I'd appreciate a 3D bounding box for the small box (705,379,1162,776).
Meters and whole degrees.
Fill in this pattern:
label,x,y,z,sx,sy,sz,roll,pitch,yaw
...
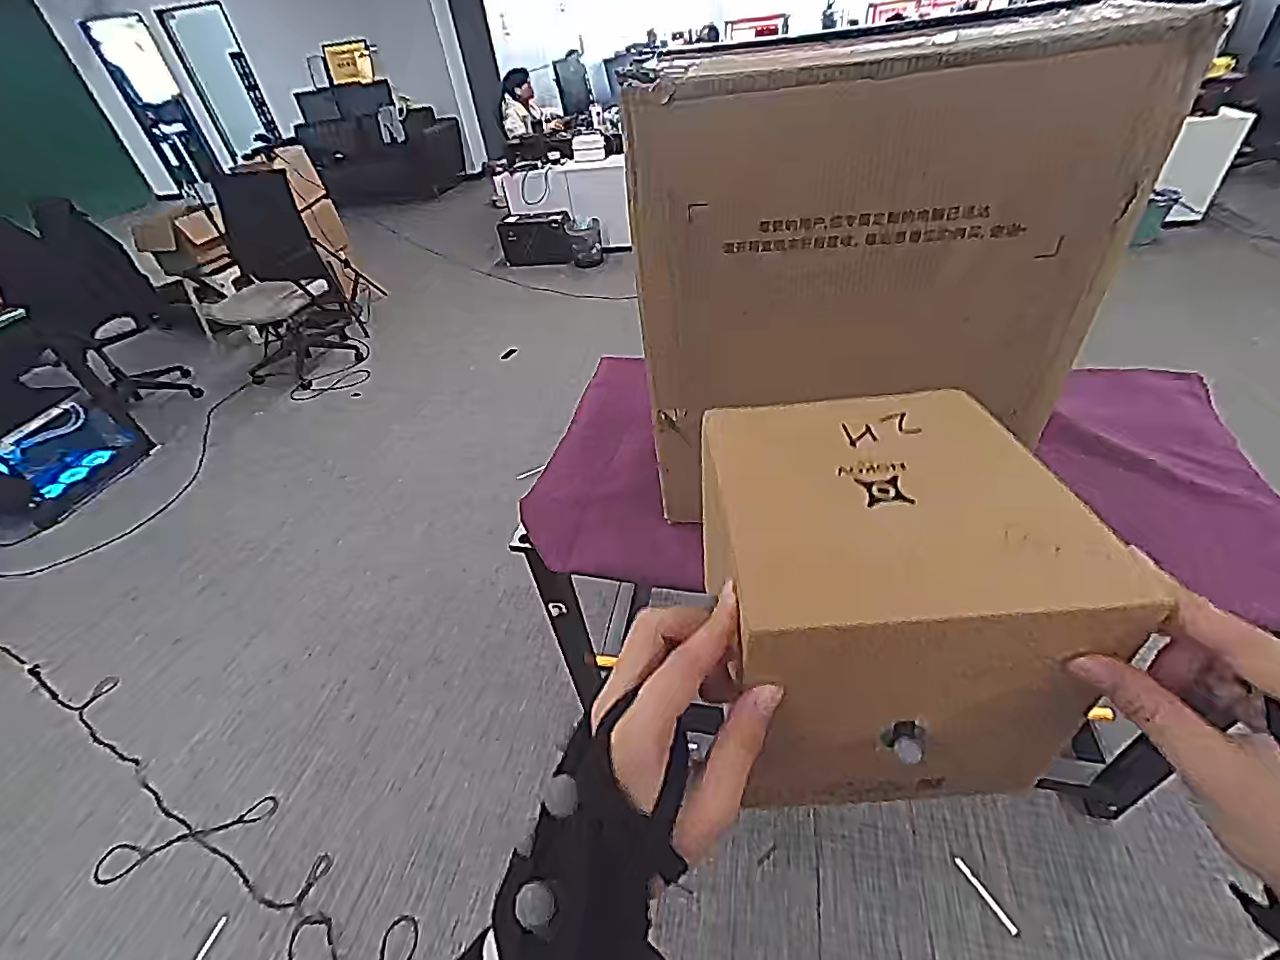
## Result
label,x,y,z,sx,sy,sz,roll,pitch,yaw
small box,0.131,0.059,0.327,0.168,0.176,0.179,-4,37,2
